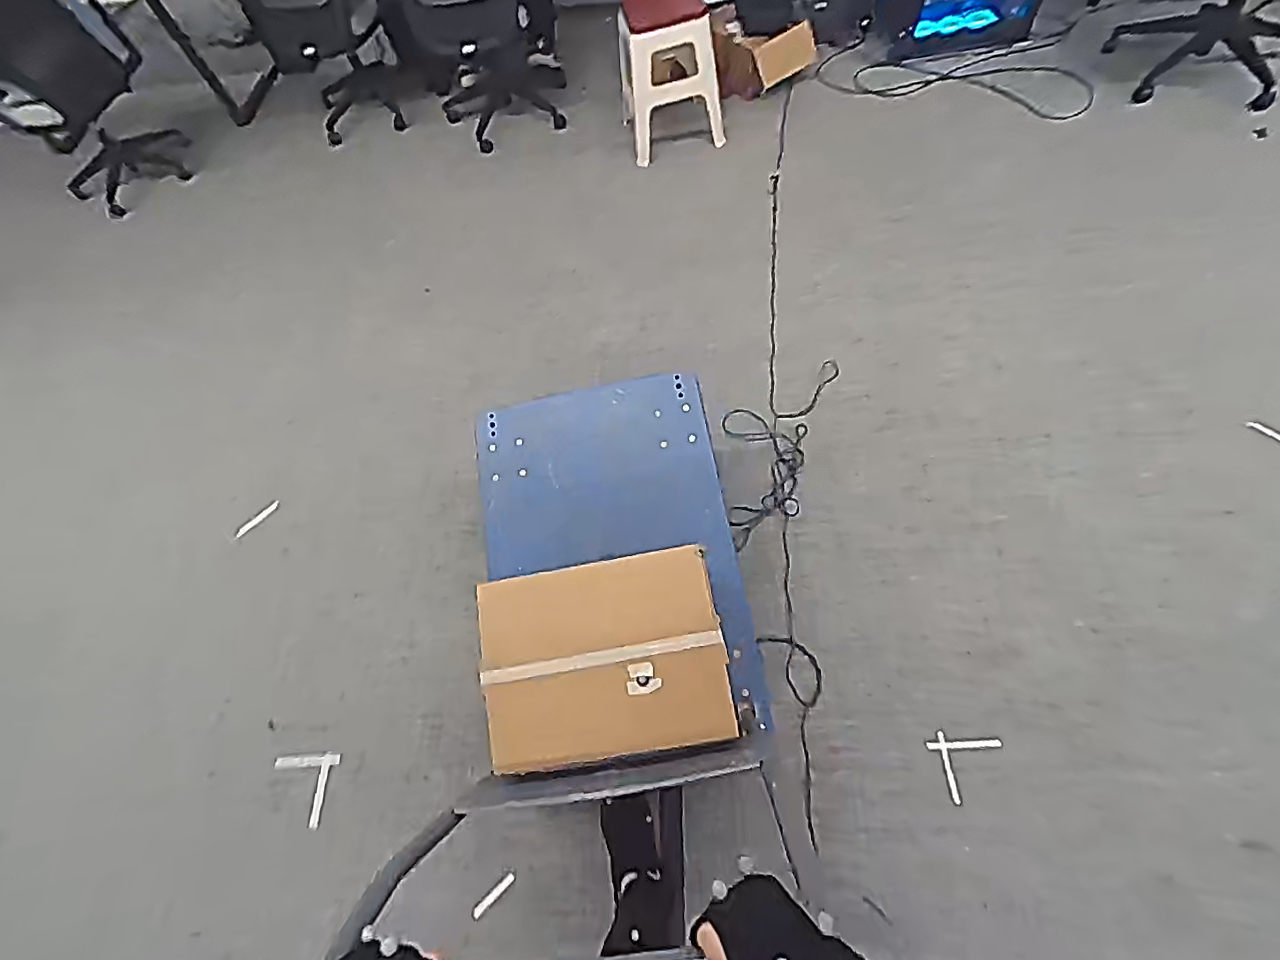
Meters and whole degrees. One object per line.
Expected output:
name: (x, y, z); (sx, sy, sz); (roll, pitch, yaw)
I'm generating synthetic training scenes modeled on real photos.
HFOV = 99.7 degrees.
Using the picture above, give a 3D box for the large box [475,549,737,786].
large box: (-0.055, 0.342, 1.034); (0.408, 0.320, 0.320); (-12, 75, 3)
